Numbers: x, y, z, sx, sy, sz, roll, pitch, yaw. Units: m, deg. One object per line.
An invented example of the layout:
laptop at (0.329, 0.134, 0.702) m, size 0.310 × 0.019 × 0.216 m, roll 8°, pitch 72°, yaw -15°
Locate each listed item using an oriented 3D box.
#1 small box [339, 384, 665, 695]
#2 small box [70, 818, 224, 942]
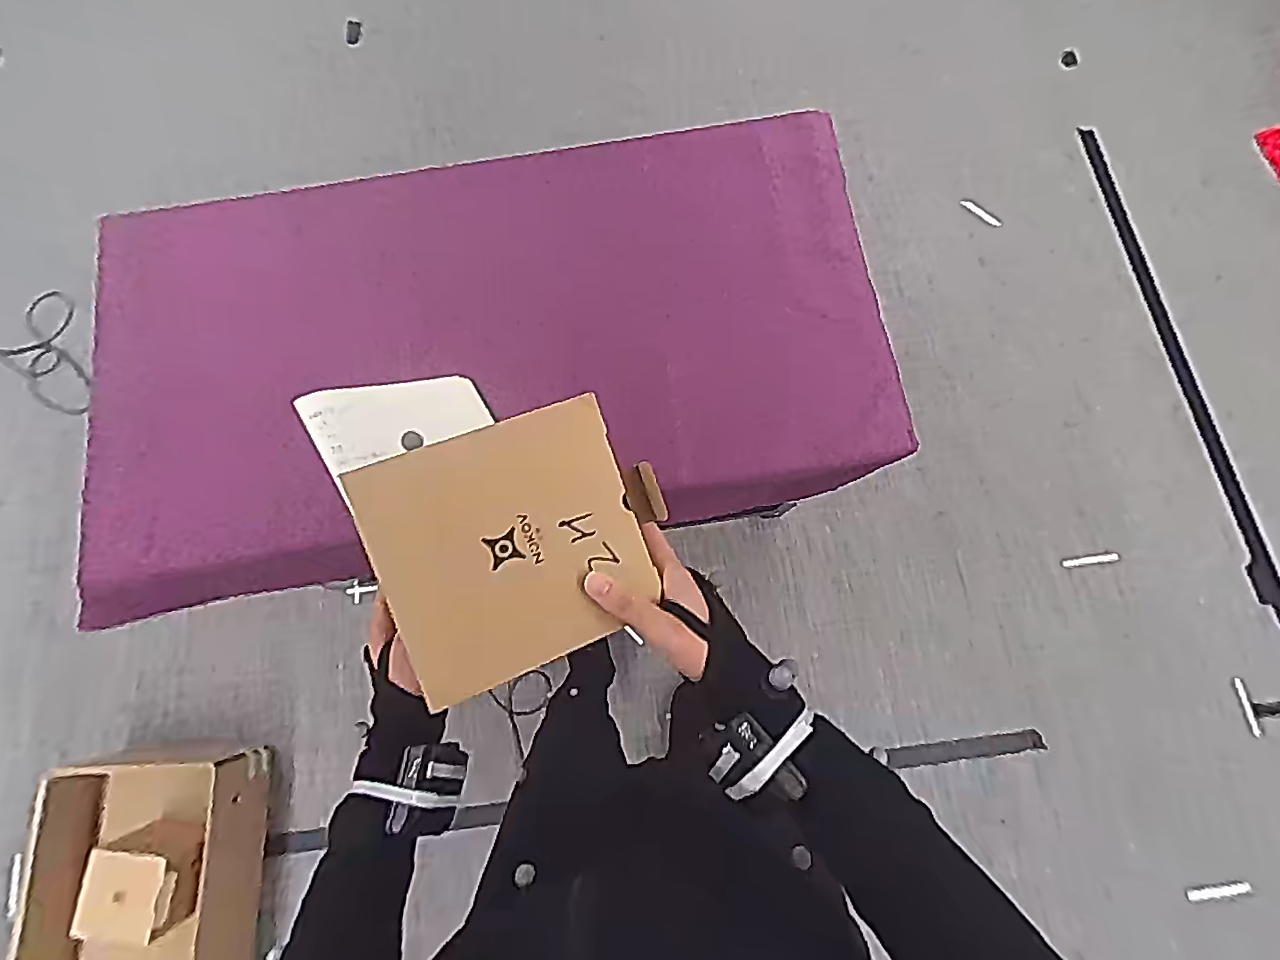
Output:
small box at (-0.105, 0.039, 0.436) m, size 0.179 × 0.176 × 0.168 m, roll -19°, pitch 93°, yaw -16°
small box at (-1.094, 0.888, 1.217) m, size 0.179 × 0.176 × 0.168 m, roll 5°, pitch 78°, yaw 2°
